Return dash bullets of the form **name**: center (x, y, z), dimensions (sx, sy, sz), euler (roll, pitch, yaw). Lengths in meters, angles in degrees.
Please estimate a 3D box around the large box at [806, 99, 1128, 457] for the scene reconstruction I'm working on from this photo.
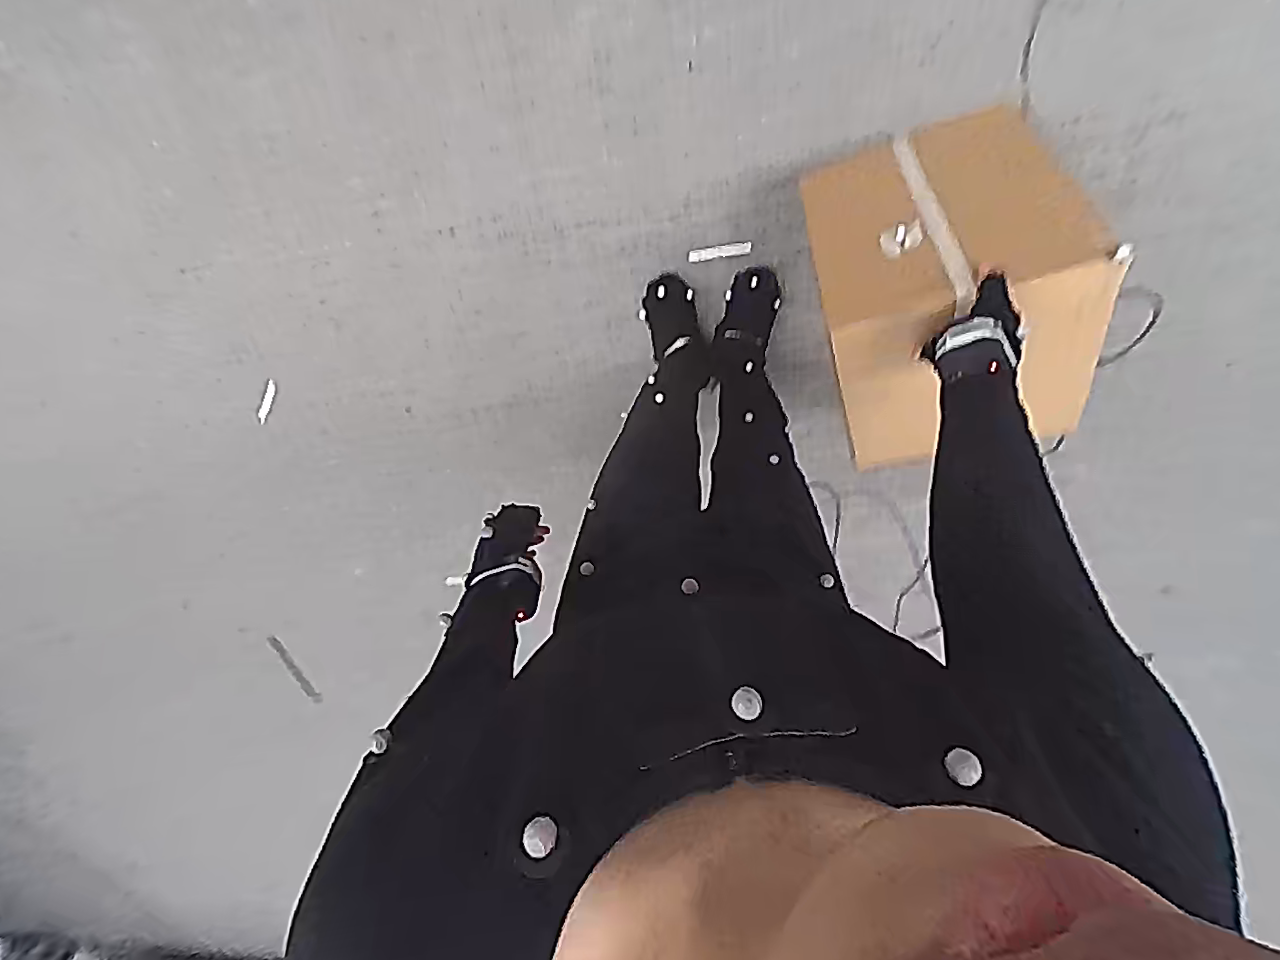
- **large box**: center (0.471, -0.304, 0.870), dimensions (0.320, 0.408, 0.320), euler (-11, 145, 23)
